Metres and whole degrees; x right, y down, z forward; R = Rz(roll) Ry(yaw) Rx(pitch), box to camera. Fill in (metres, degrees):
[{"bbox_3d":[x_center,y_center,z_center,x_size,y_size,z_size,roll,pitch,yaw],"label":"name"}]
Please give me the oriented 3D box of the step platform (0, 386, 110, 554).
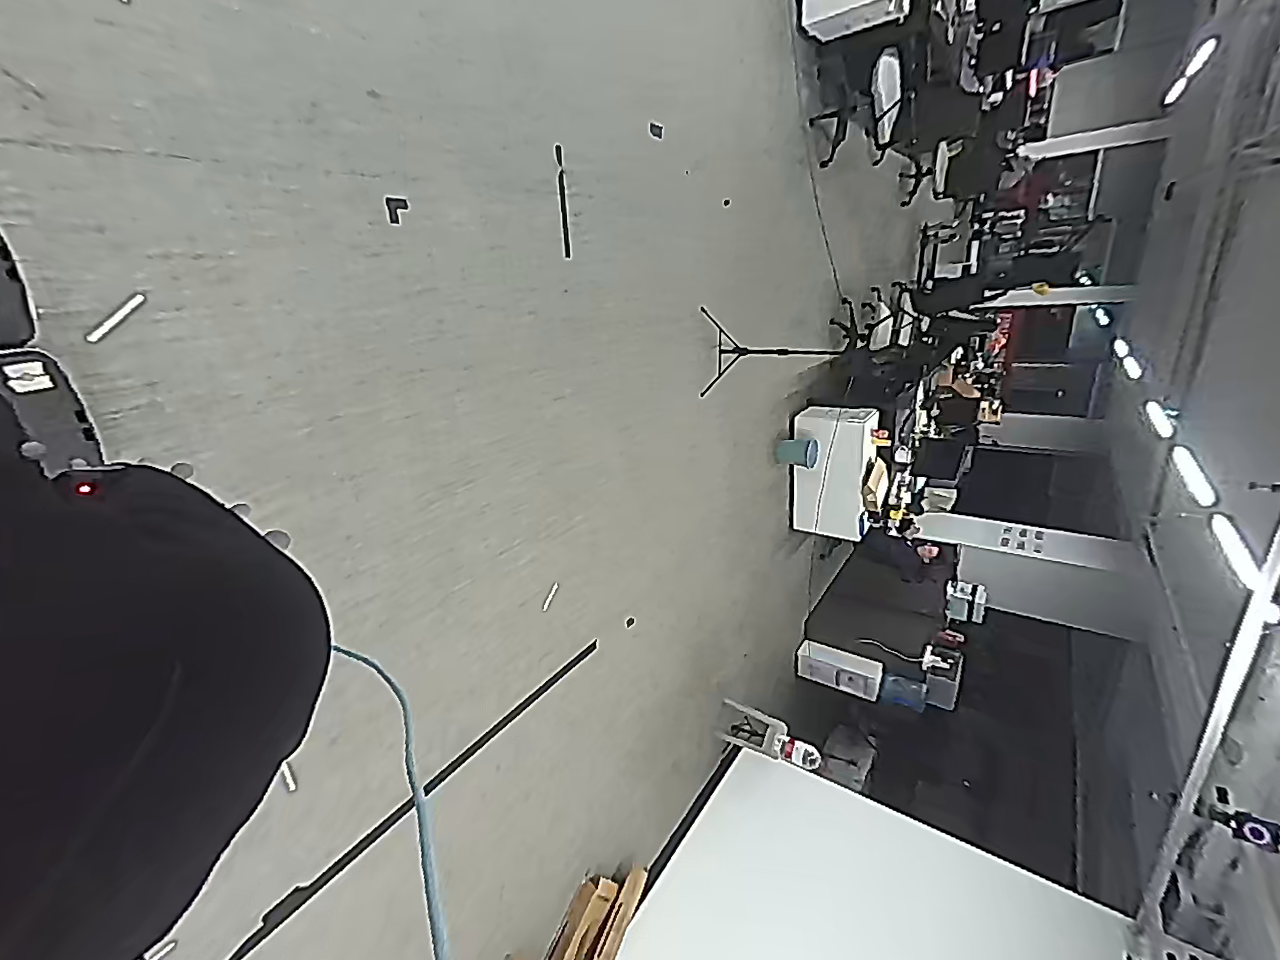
[{"bbox_3d":[-1.289,0.028,0.825,0.684,0.204,0.286,-21,113,-49],"label":"step platform"}]
